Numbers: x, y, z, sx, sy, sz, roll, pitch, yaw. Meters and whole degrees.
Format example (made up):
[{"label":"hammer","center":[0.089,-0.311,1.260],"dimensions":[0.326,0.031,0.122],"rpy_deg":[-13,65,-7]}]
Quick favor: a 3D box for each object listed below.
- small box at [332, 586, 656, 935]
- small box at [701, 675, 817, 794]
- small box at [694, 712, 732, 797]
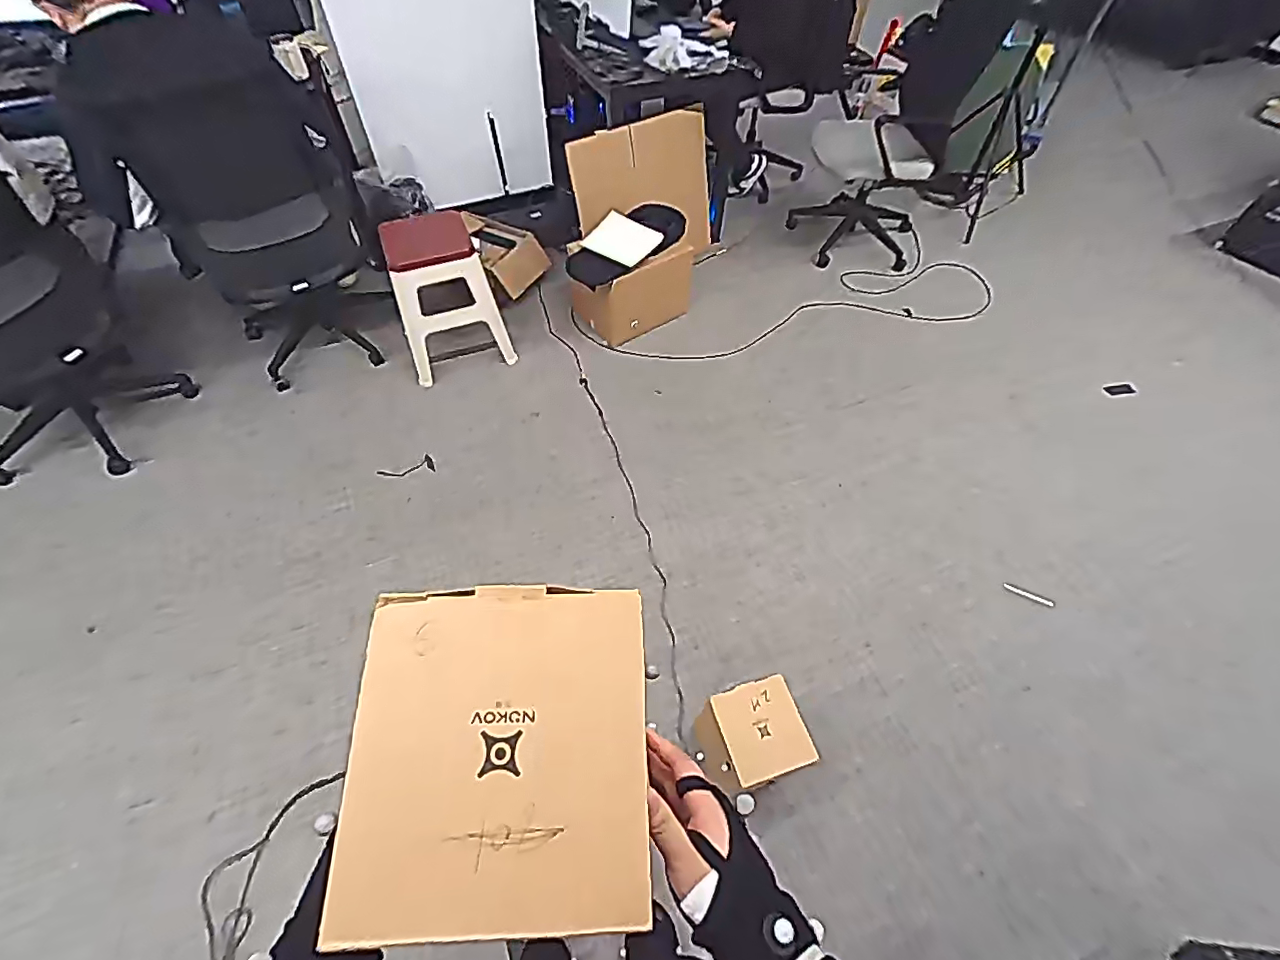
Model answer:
[{"label":"small box","center":[-0.079,0.180,0.381],"dimensions":[0.168,0.176,0.179],"rpy_deg":[0,66,-3]},{"label":"small box","center":[0.240,0.542,1.141],"dimensions":[0.168,0.176,0.179],"rpy_deg":[-13,54,-12]},{"label":"small box","center":[0.239,0.631,1.280],"dimensions":[0.179,0.176,0.168],"rpy_deg":[-12,54,-9]}]
